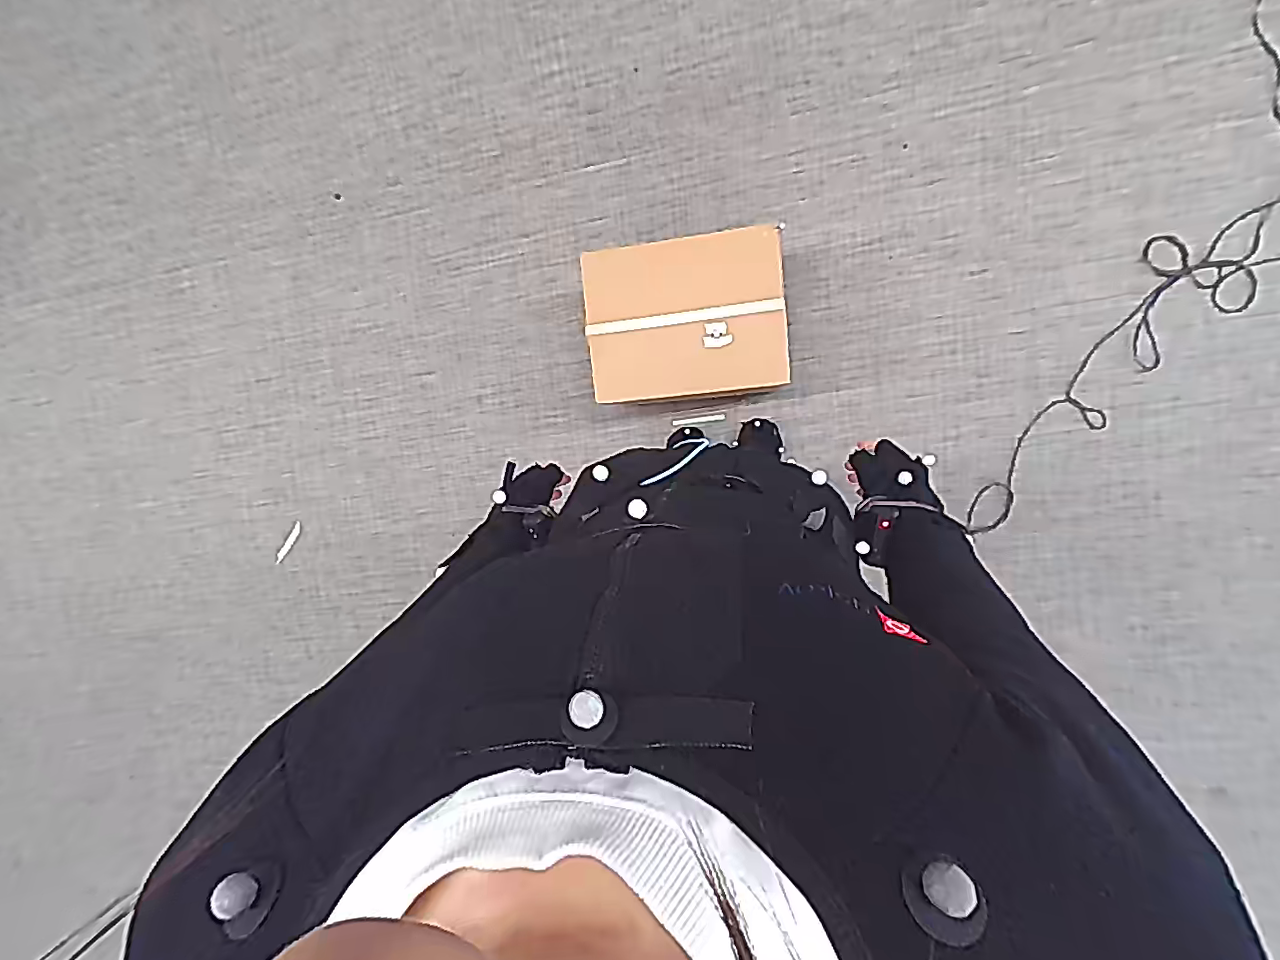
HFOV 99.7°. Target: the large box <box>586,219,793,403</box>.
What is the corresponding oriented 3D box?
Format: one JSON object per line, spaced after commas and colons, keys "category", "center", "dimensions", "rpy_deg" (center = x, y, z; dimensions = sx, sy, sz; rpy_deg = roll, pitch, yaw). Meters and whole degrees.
{"category": "large box", "center": [0.120, -0.357, 1.246], "dimensions": [0.408, 0.320, 0.320], "rpy_deg": [-5, 97, 10]}
